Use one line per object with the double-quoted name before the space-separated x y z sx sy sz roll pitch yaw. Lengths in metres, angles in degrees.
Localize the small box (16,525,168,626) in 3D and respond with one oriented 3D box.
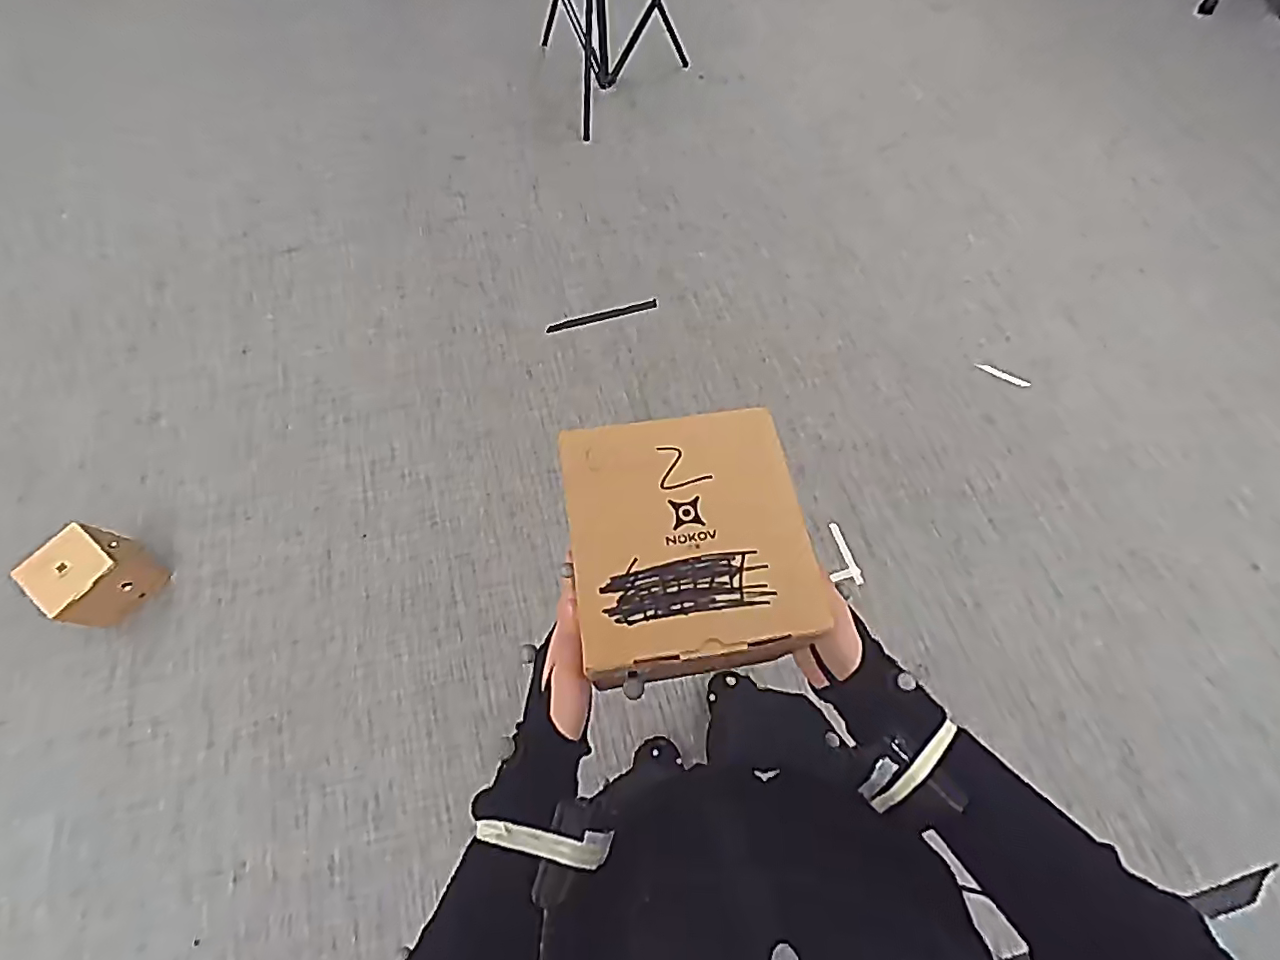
"small box" -1.344 0.245 1.341 0.179 0.176 0.168 35 71 14
